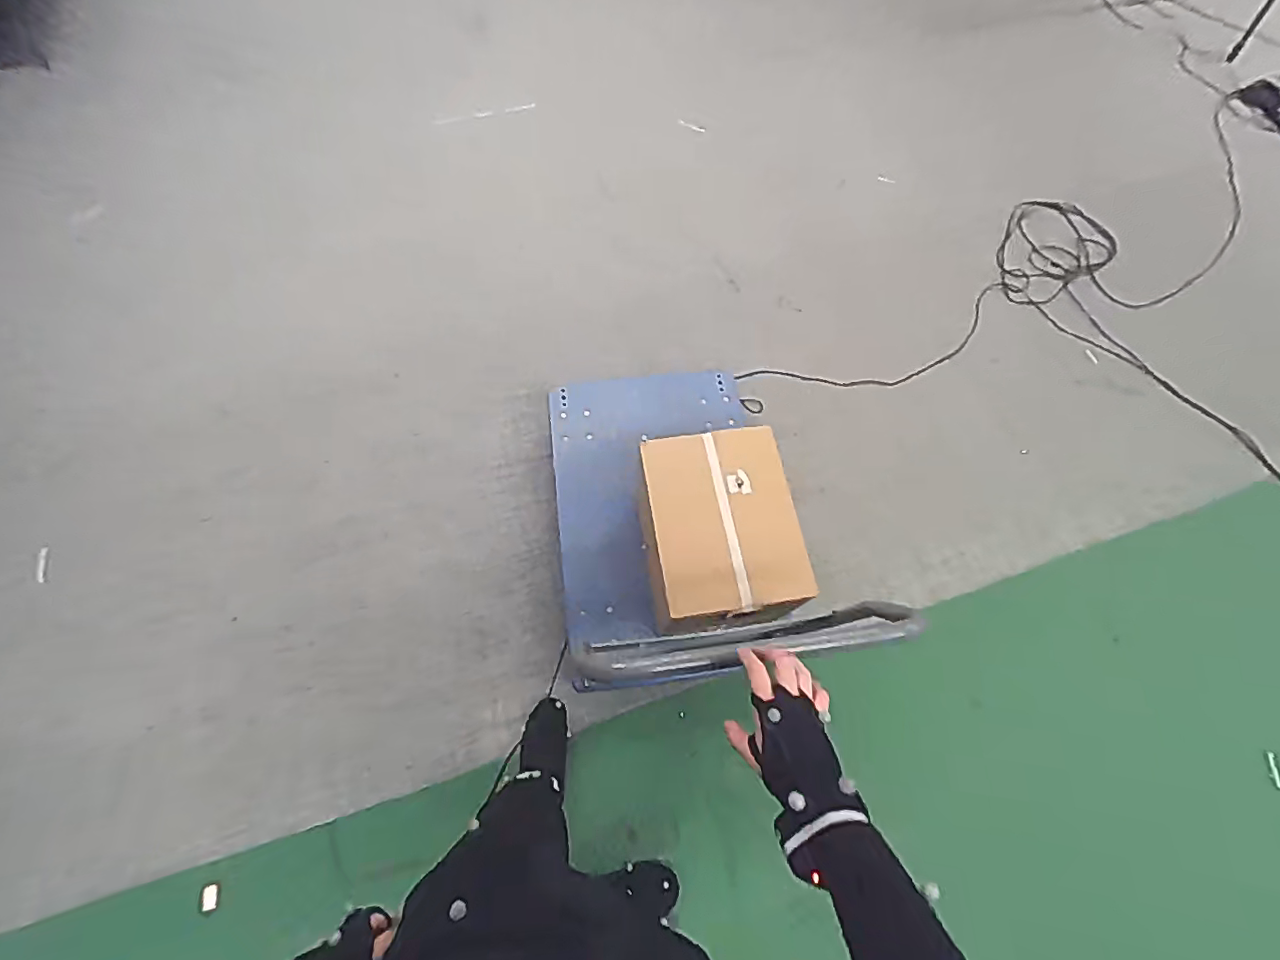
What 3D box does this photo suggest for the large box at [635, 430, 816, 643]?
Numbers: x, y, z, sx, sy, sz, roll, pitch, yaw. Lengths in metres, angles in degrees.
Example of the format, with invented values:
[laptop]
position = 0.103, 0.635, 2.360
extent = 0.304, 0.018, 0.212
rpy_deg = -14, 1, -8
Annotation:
[large box]
position = 0.172, 0.144, 1.297
extent = 0.320, 0.320, 0.408
rpy_deg = -7, 66, -7
